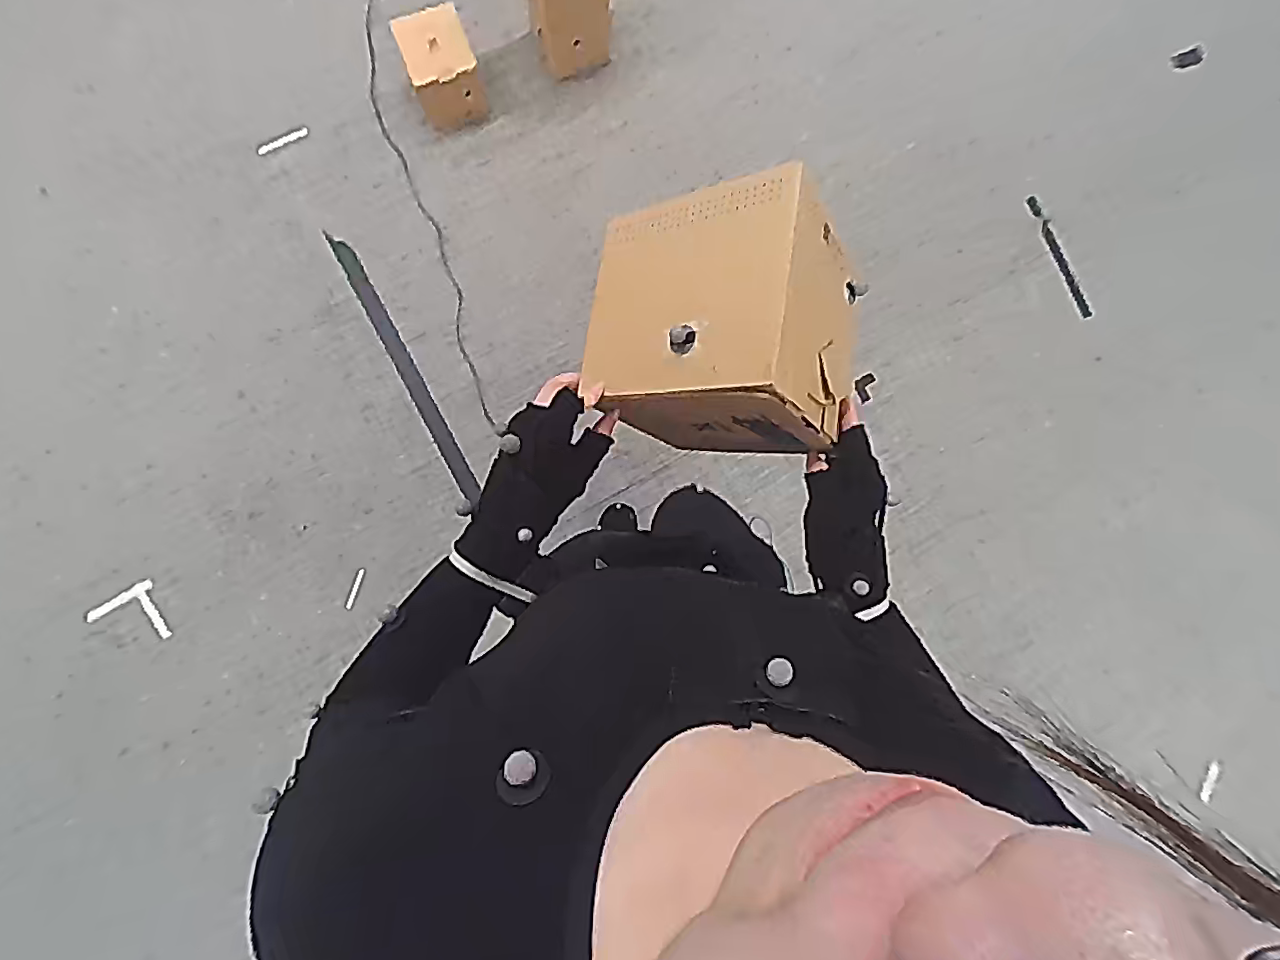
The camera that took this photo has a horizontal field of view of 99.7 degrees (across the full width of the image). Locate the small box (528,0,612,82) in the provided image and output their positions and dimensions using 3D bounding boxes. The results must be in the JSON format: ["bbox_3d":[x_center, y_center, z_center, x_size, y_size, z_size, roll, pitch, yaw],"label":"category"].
[{"bbox_3d":[-0.185,-1.217,1.443,0.179,0.176,0.168,-25,91,-5],"label":"small box"}]

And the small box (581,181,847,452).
[{"bbox_3d":[0.074,-0.126,0.477,0.179,0.168,0.176,3,80,37],"label":"small box"}]

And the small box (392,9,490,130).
[{"bbox_3d":[-0.510,-1.057,1.414,0.168,0.176,0.179,-22,90,-5],"label":"small box"}]

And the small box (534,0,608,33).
[{"bbox_3d":[-0.180,-1.216,1.278,0.179,0.176,0.168,-23,90,-5],"label":"small box"}]
